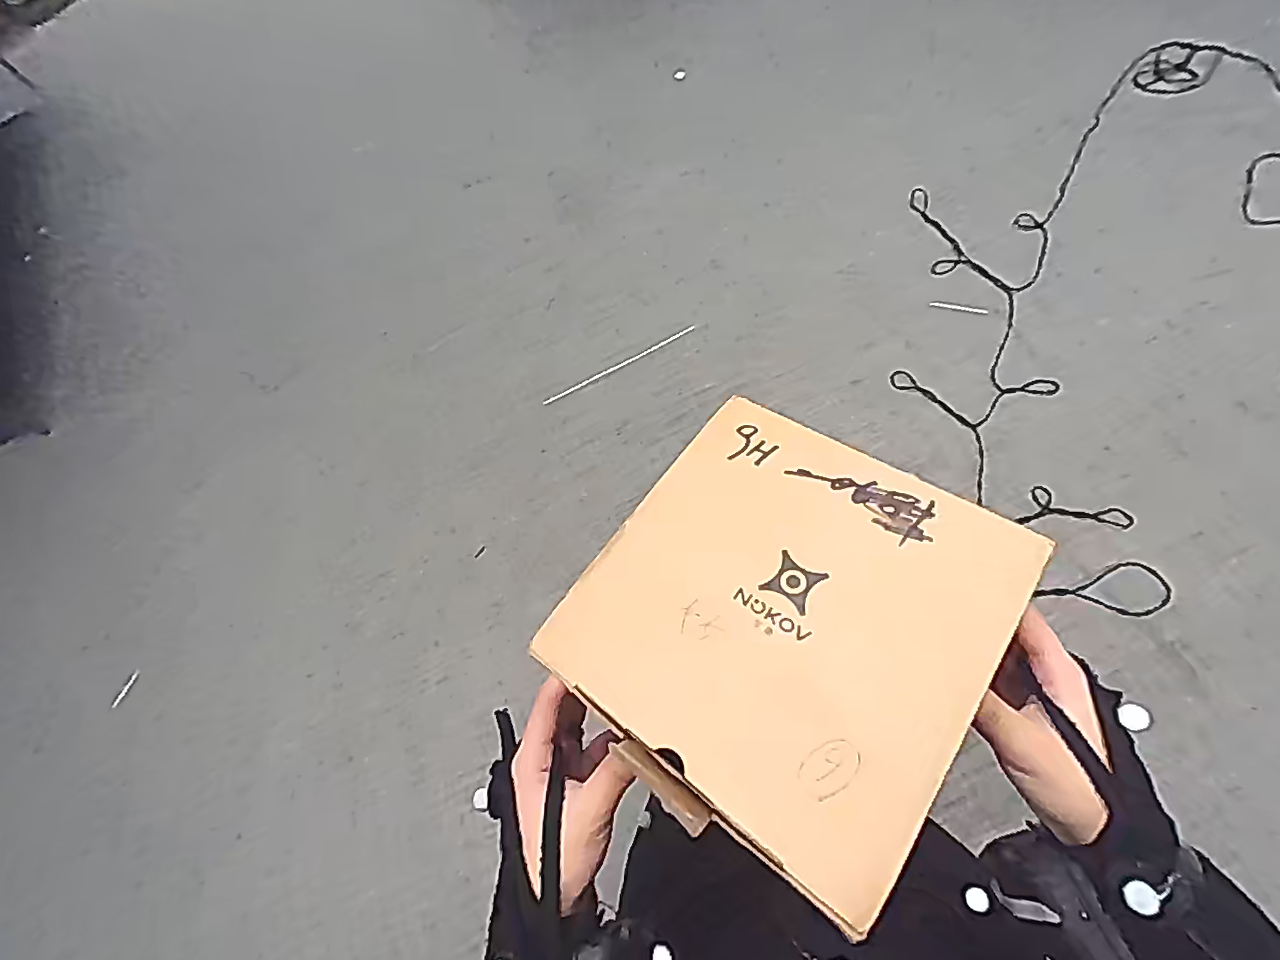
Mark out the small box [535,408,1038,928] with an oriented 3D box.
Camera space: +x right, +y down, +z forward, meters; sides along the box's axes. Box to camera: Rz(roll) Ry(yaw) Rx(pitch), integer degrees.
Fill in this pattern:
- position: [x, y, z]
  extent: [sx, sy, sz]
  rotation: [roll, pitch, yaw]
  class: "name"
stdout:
- position: [0.077, 0.098, 0.314]
  extent: [0.168, 0.176, 0.179]
  rotation: [31, 70, 26]
  class: "small box"
